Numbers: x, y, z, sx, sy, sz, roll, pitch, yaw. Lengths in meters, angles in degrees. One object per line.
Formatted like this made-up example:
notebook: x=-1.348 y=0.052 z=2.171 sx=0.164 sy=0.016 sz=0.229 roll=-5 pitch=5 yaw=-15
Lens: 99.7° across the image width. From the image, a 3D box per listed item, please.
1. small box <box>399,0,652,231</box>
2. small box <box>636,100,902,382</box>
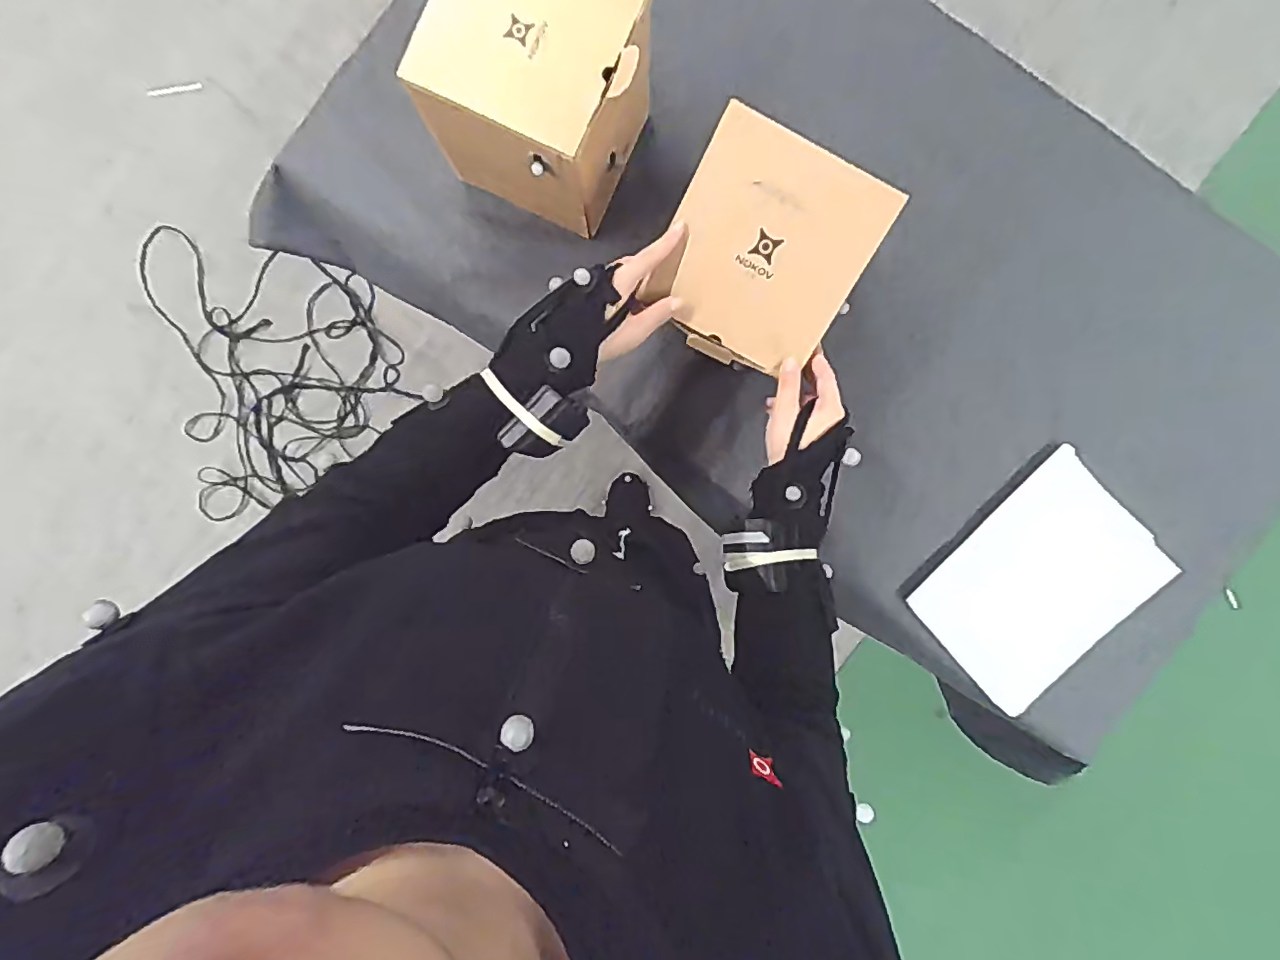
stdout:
small box: x=-0.103 y=-0.390 z=0.555 sx=0.179 sy=0.176 sz=0.168 roll=24 pitch=90 yaw=-2
small box: x=0.116 y=-0.218 z=0.537 sx=0.168 sy=0.176 sz=0.179 roll=28 pitch=107 yaw=-2
